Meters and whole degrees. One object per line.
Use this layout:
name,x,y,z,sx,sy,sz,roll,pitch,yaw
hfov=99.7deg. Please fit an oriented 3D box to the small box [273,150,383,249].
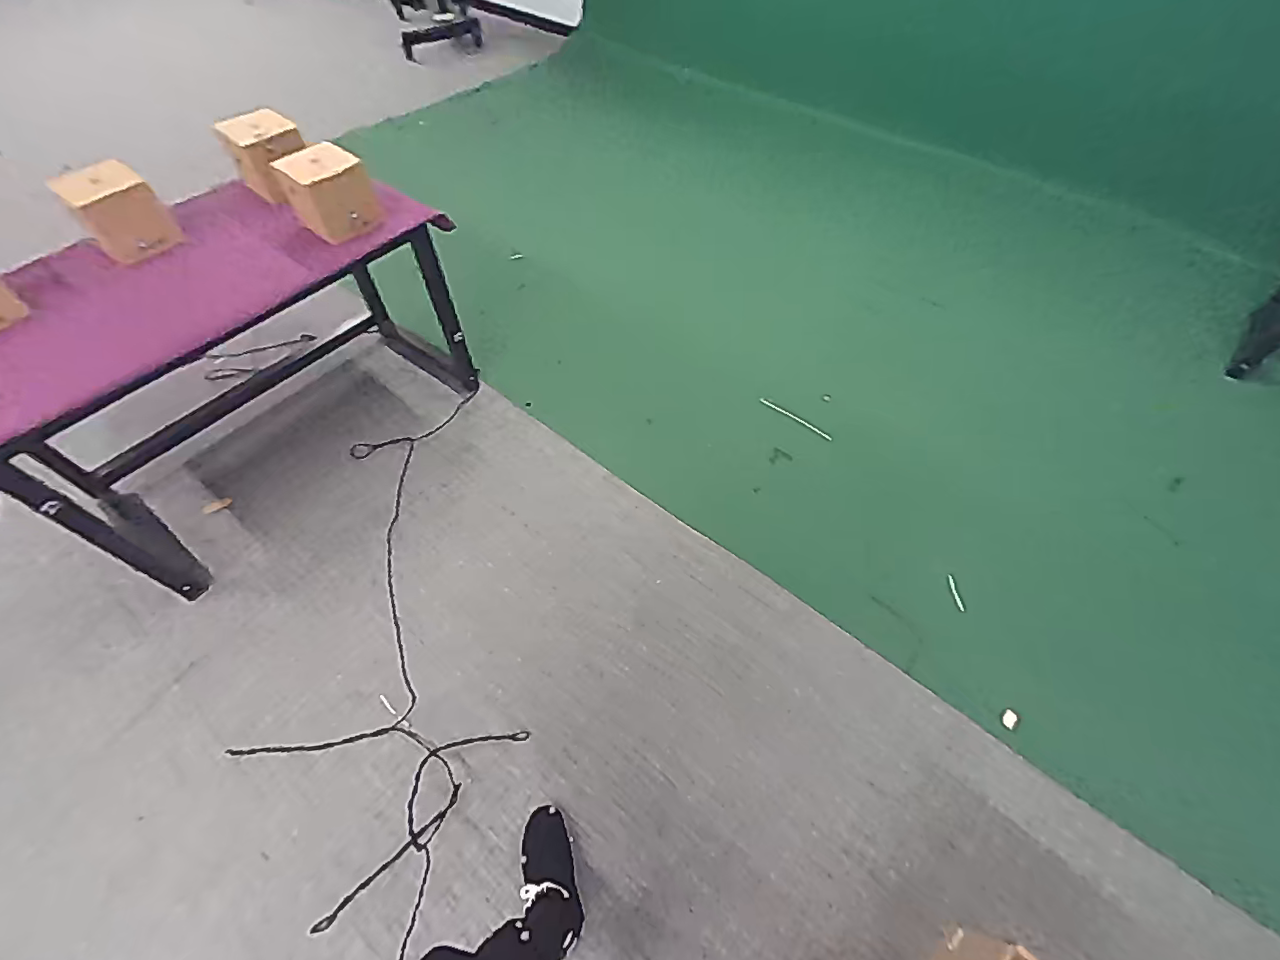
small box,-0.848,-0.766,1.482,0.179,0.176,0.168,35,63,22

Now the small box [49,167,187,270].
small box,-1.362,-0.683,1.420,0.179,0.176,0.168,33,61,20

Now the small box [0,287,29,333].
small box,-1.578,-0.423,1.229,0.179,0.176,0.168,29,59,19

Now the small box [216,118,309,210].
small box,-1.090,-0.933,1.601,0.179,0.176,0.168,35,62,22
